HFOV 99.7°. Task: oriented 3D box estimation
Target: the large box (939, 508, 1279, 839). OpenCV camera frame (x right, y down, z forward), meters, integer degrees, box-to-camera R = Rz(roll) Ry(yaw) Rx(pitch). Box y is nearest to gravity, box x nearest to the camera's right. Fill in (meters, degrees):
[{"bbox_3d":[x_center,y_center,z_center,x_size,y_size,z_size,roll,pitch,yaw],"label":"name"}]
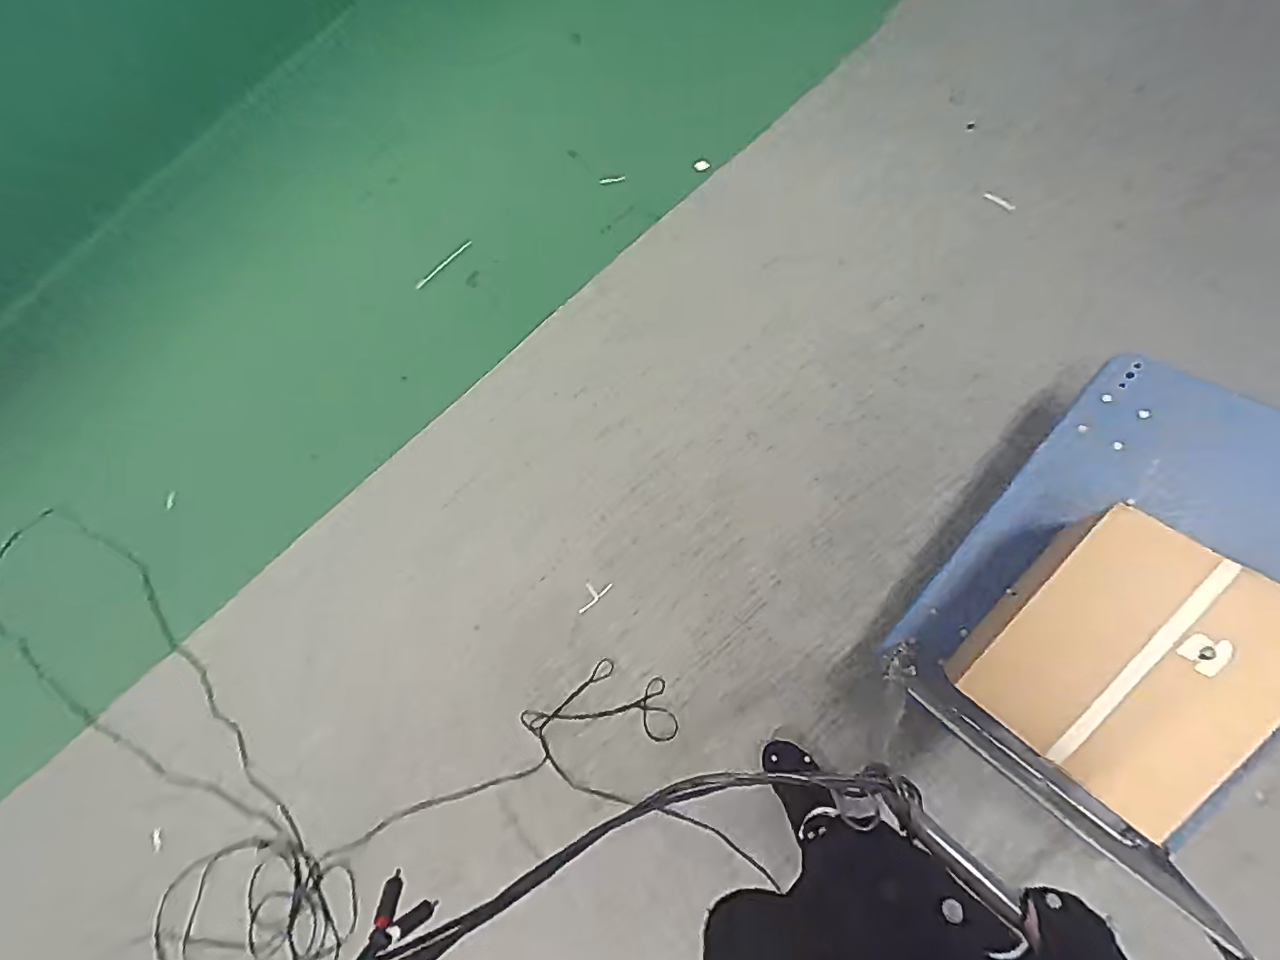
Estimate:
[{"bbox_3d":[0.809,0.320,0.973,0.320,0.320,0.408,41,96,27],"label":"large box"}]
